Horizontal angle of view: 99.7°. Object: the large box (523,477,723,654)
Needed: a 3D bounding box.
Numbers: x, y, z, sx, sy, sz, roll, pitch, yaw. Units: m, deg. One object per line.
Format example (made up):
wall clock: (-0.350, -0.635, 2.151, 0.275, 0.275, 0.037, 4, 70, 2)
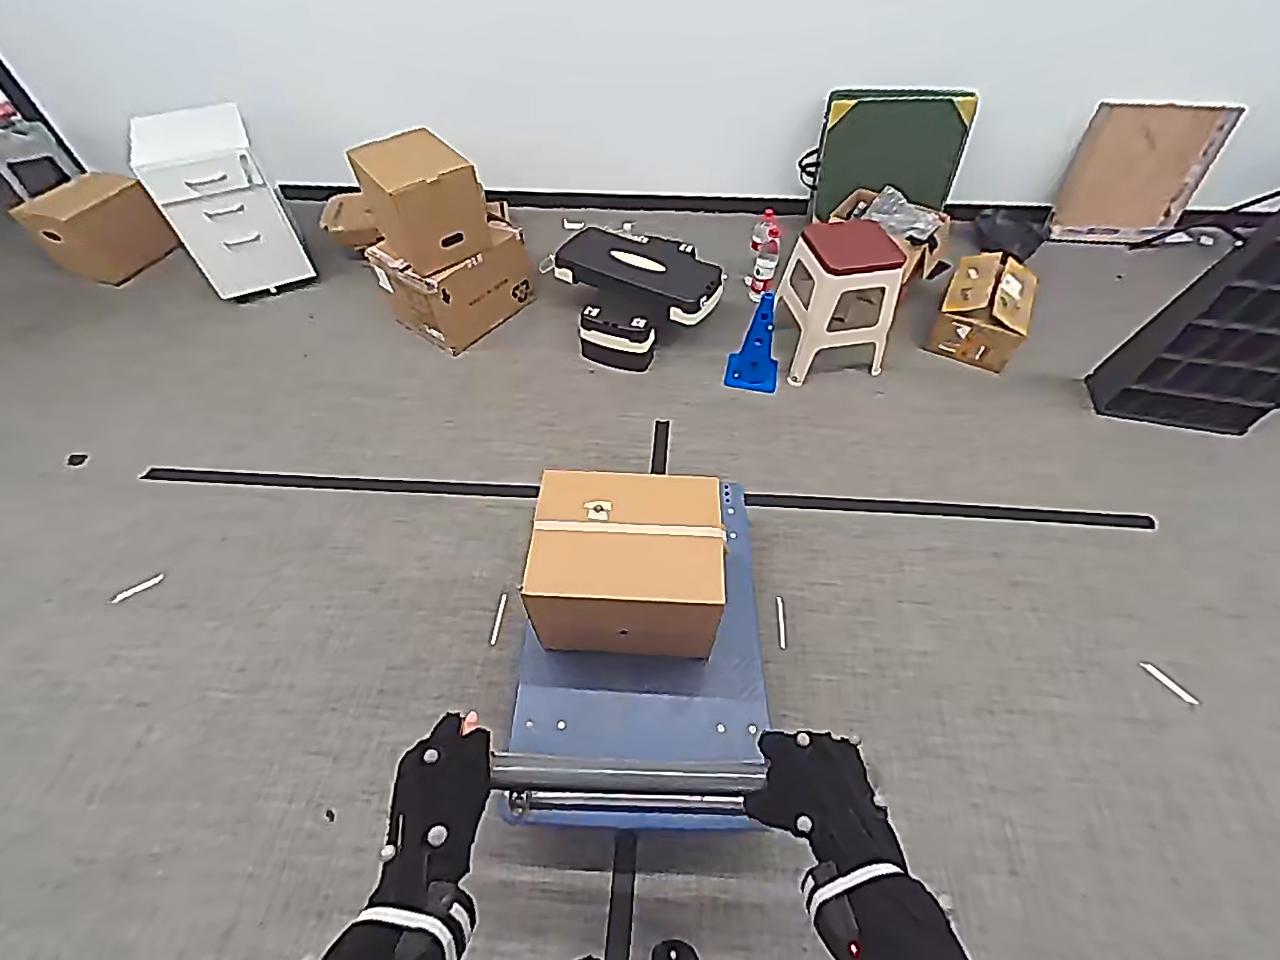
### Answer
large box: (-0.025, 0.207, 1.274, 0.408, 0.320, 0.320, 2, 53, 2)
